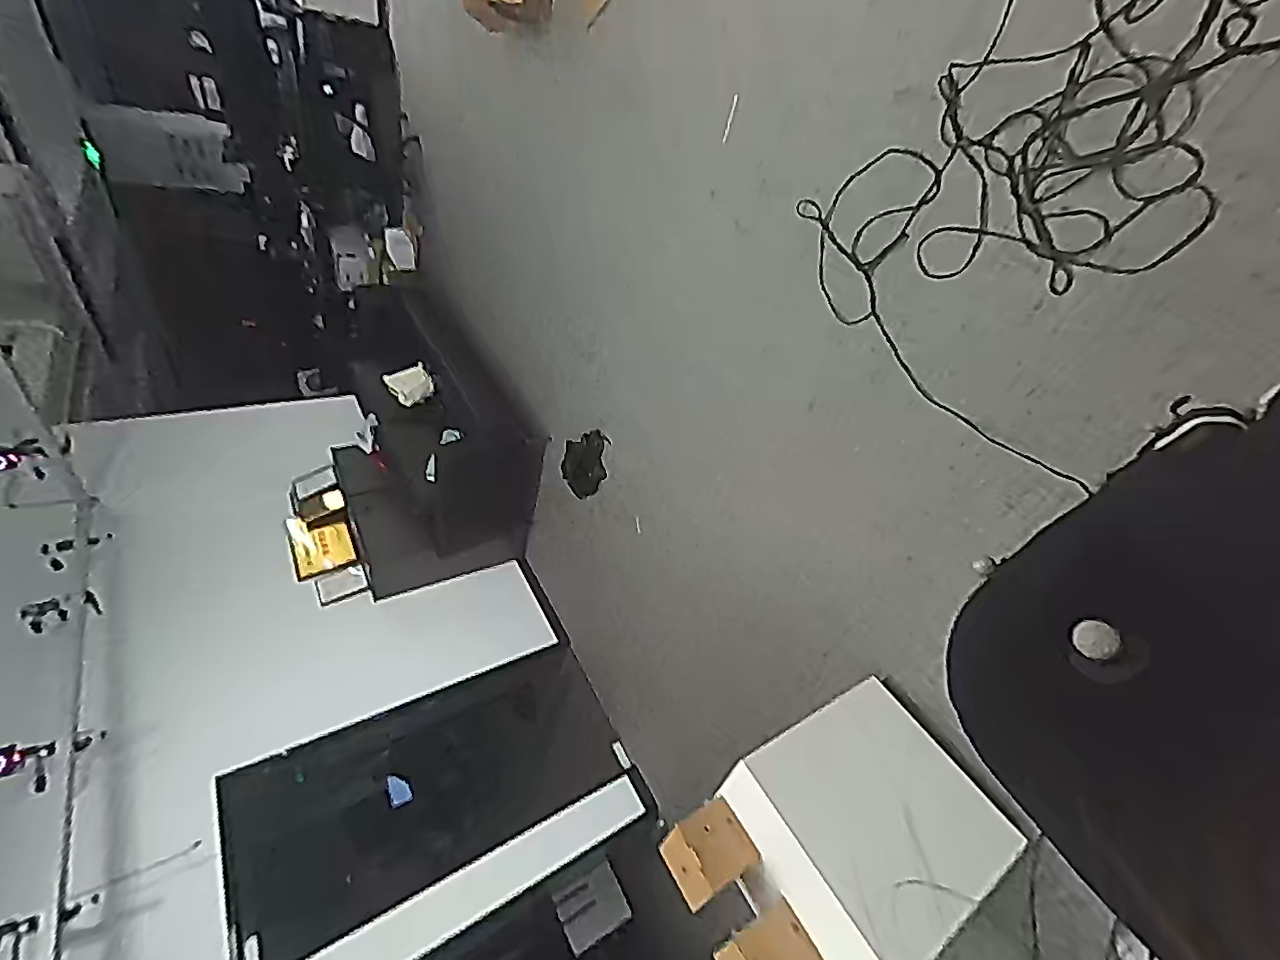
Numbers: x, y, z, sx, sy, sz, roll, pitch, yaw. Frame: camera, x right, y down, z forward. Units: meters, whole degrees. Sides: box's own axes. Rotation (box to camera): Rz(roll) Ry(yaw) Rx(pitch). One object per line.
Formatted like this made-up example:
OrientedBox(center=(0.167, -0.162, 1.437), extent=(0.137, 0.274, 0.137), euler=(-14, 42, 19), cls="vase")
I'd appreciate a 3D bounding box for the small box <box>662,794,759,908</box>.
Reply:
OrientedBox(center=(0.187, 0.973, 1.428), extent=(0.168, 0.176, 0.179), euler=(50, 140, 36), cls="small box")
